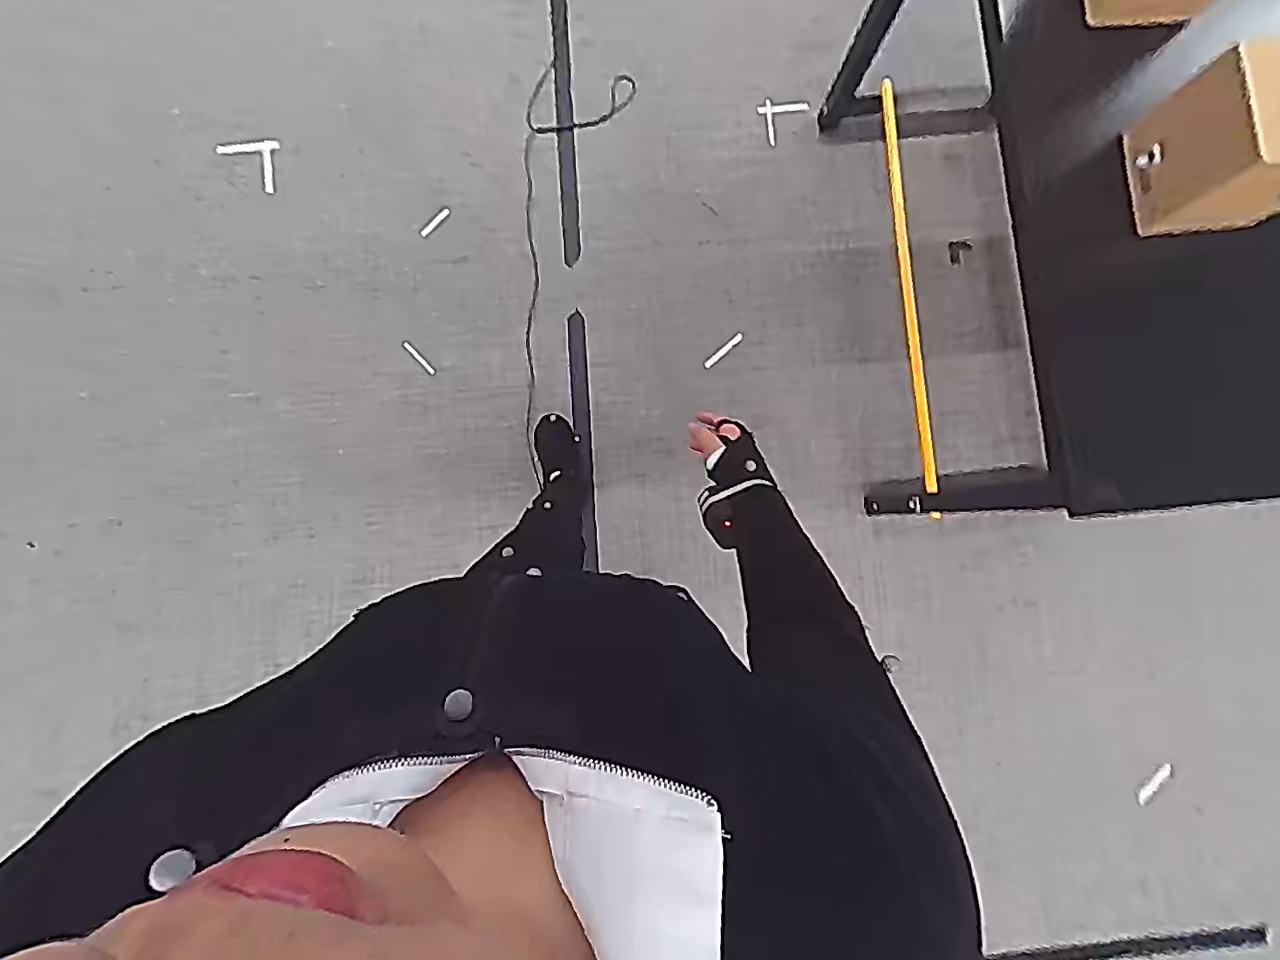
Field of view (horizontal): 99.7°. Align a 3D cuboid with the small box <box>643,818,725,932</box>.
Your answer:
[{"bbox_3d":[0.104,0.975,1.351,0.179,0.176,0.168,-6,85,-1],"label":"small box"}]

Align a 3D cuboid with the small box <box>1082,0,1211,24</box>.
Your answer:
[{"bbox_3d":[0.779,-0.798,0.769,0.179,0.176,0.168,-3,85,-1],"label":"small box"}]

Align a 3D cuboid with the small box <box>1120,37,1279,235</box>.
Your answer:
[{"bbox_3d":[0.831,-0.465,0.747,0.179,0.176,0.168,-6,84,-1],"label":"small box"}]
